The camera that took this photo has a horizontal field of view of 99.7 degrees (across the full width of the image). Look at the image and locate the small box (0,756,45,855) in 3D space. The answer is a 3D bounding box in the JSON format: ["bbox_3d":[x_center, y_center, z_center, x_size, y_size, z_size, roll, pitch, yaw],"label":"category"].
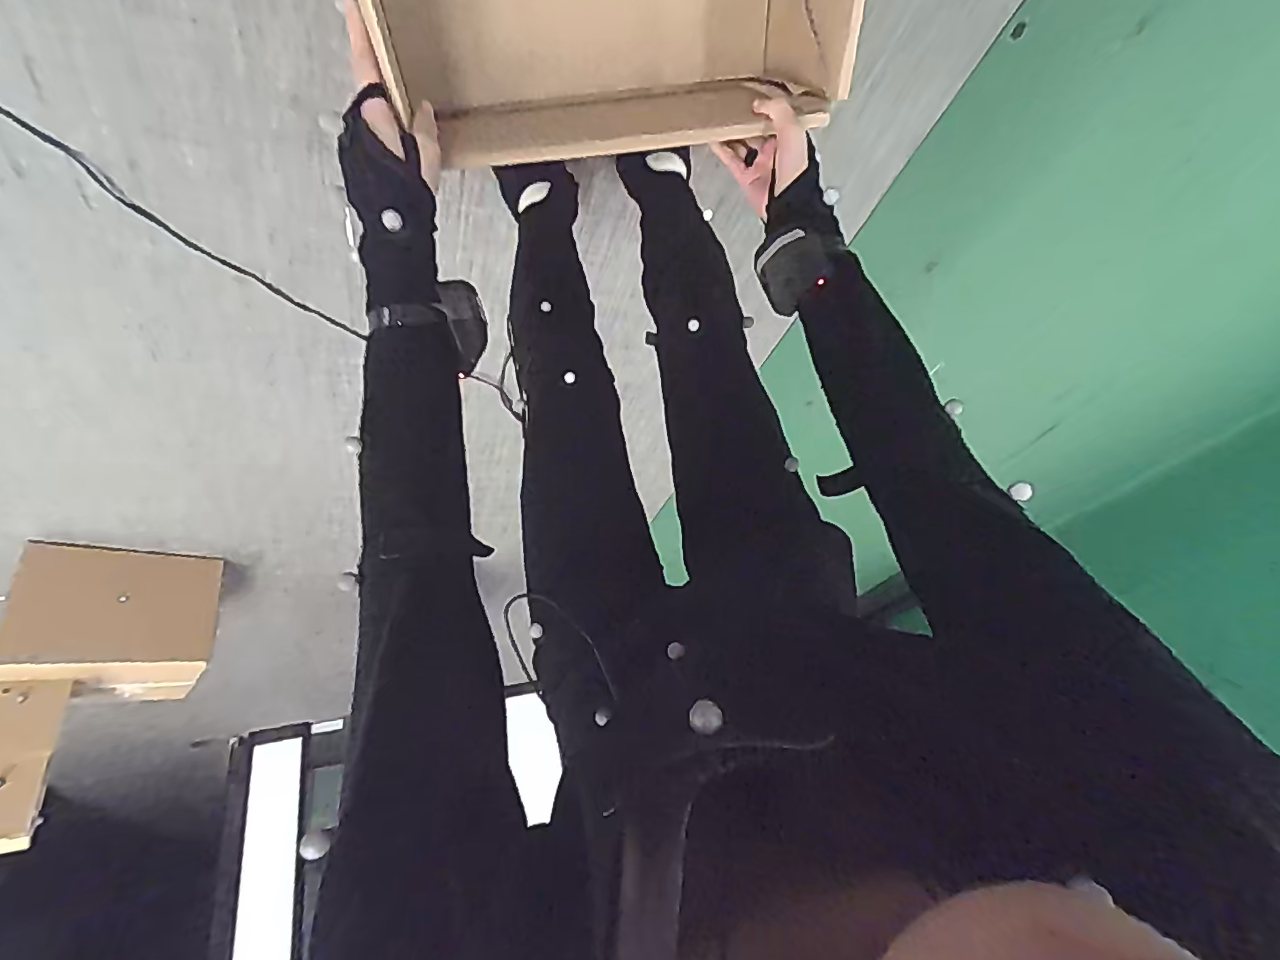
[{"bbox_3d":[-1.427,0.712,1.166,0.168,0.176,0.179,14,137,-41],"label":"small box"}]
